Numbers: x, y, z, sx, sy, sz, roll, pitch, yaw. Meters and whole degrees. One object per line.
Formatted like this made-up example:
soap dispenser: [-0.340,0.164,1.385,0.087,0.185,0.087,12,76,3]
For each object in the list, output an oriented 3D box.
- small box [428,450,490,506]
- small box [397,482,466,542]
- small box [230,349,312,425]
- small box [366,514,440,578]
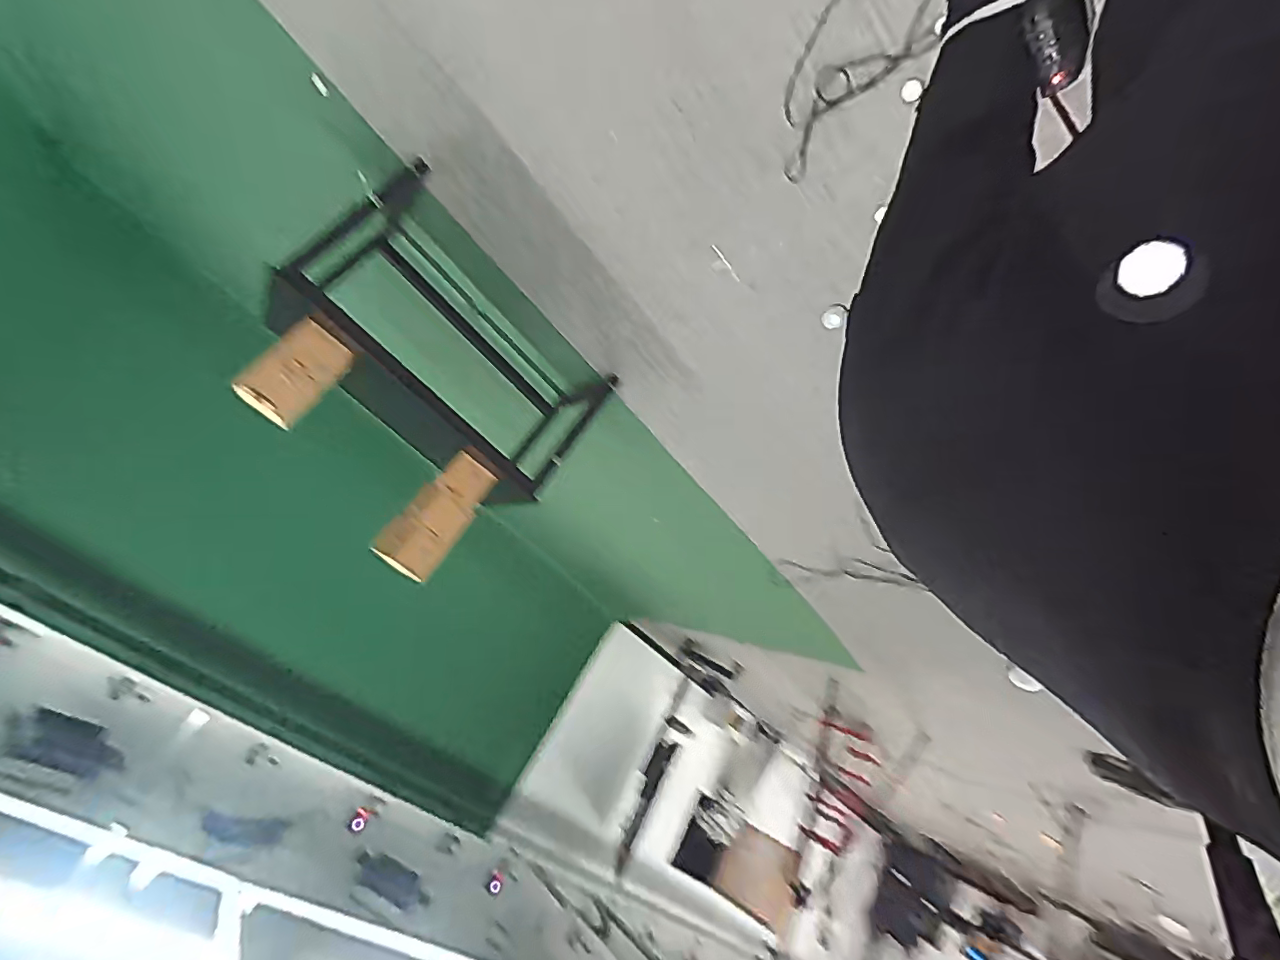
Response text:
small box: [-0.753,-0.001,2.244,0.168,0.176,0.179,42,152,-18]
small box: [-0.831,0.126,2.175,0.179,0.176,0.168,7,144,43]
small box: [-1.270,-0.322,1.873,0.168,0.176,0.179,41,154,-19]
small box: [-0.914,0.253,2.111,0.179,0.176,0.168,13,147,33]
